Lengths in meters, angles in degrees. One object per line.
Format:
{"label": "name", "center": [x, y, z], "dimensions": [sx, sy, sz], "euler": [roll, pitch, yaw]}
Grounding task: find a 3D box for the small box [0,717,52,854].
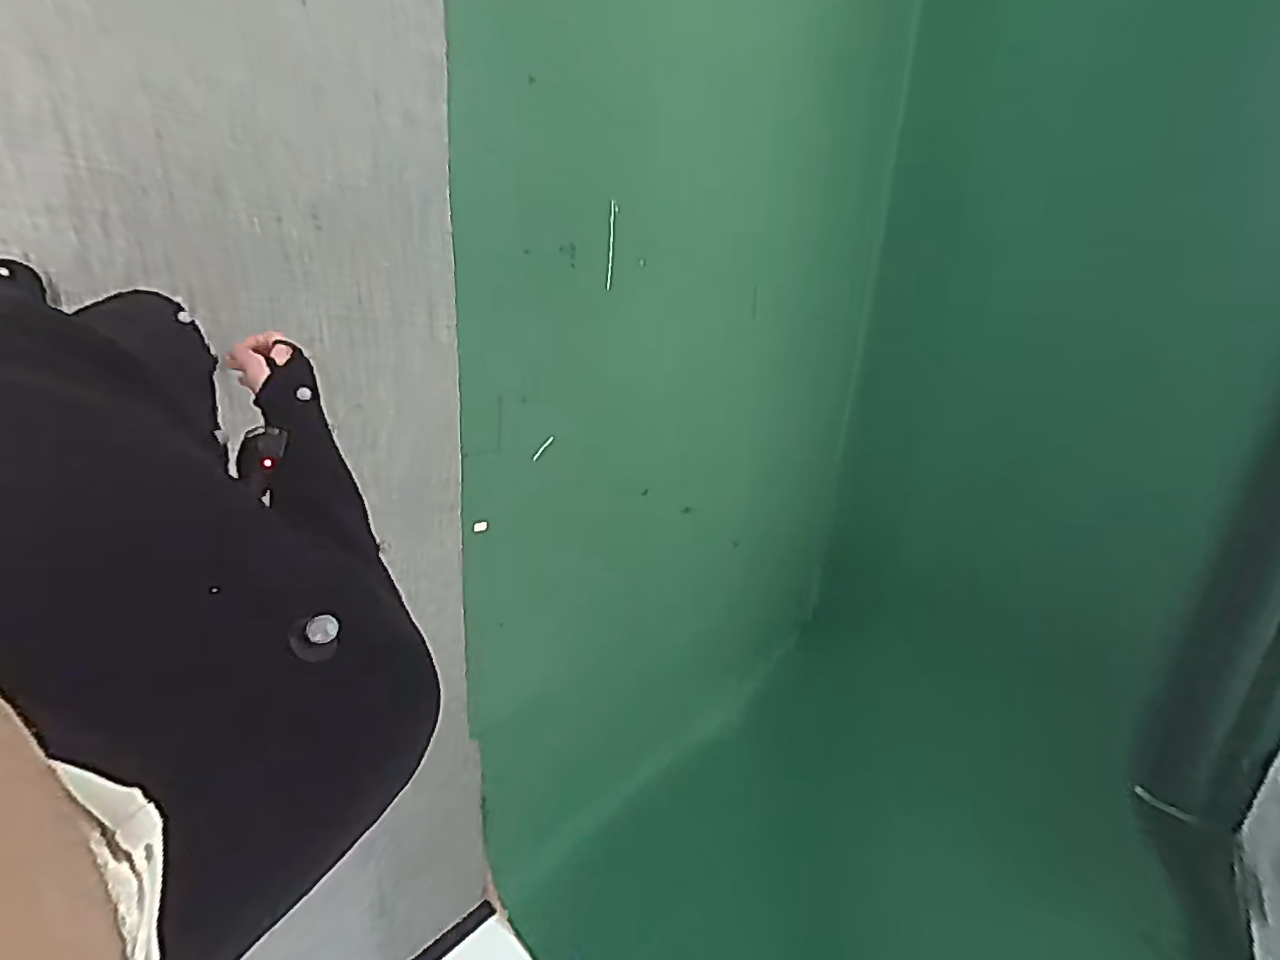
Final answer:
{"label": "small box", "center": [-1.180, 0.552, 0.961], "dimensions": [0.168, 0.176, 0.179], "euler": [-6, 110, -49]}
